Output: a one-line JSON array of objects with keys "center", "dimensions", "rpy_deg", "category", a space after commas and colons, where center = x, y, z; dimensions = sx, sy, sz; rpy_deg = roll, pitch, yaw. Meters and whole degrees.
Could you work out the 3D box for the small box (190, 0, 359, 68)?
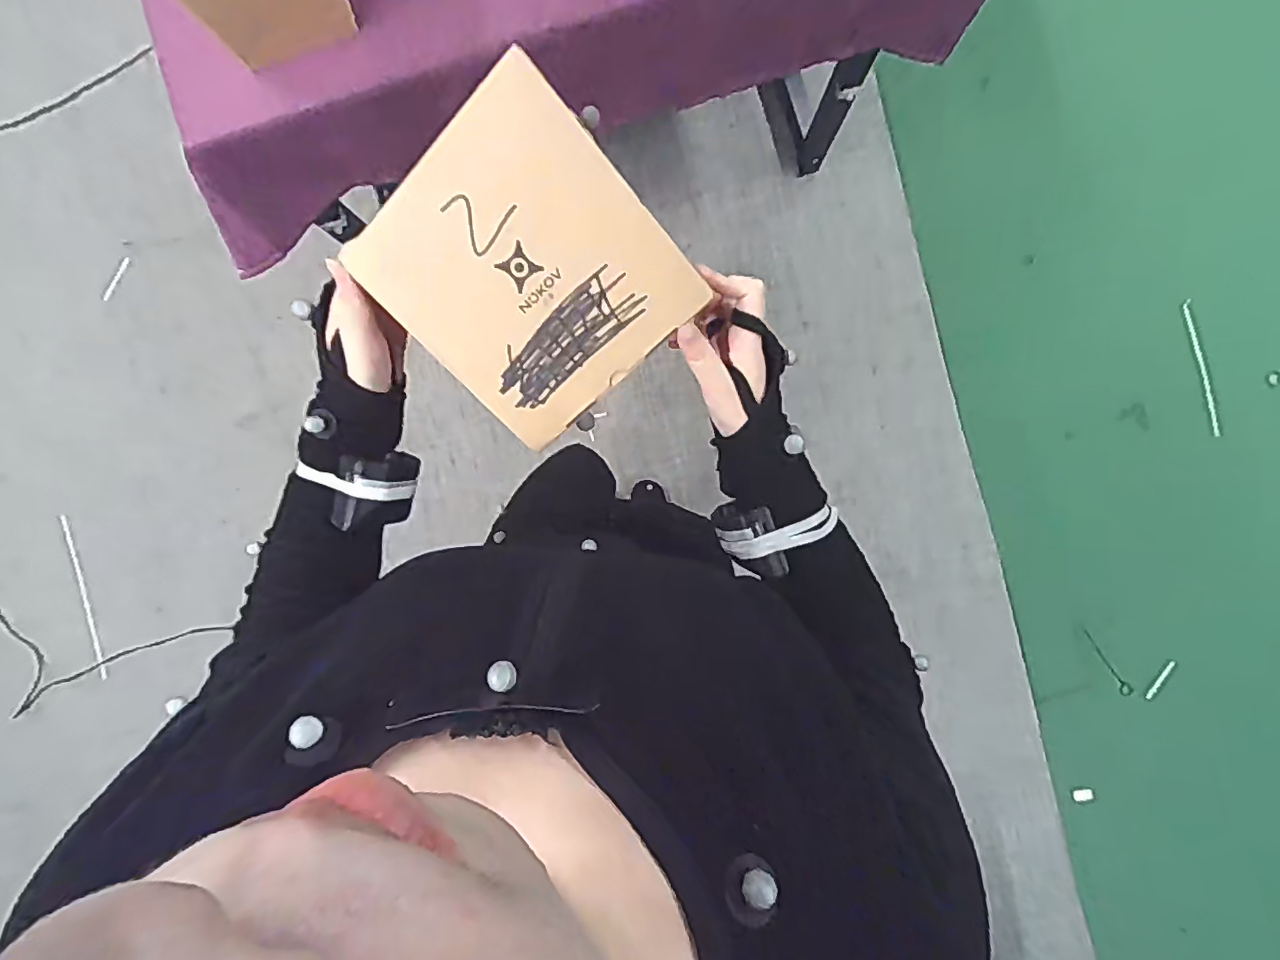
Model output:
[{"center": [-0.516, -0.700, 0.716], "dimensions": [0.179, 0.176, 0.168], "rpy_deg": [-18, 88, 1], "category": "small box"}]
